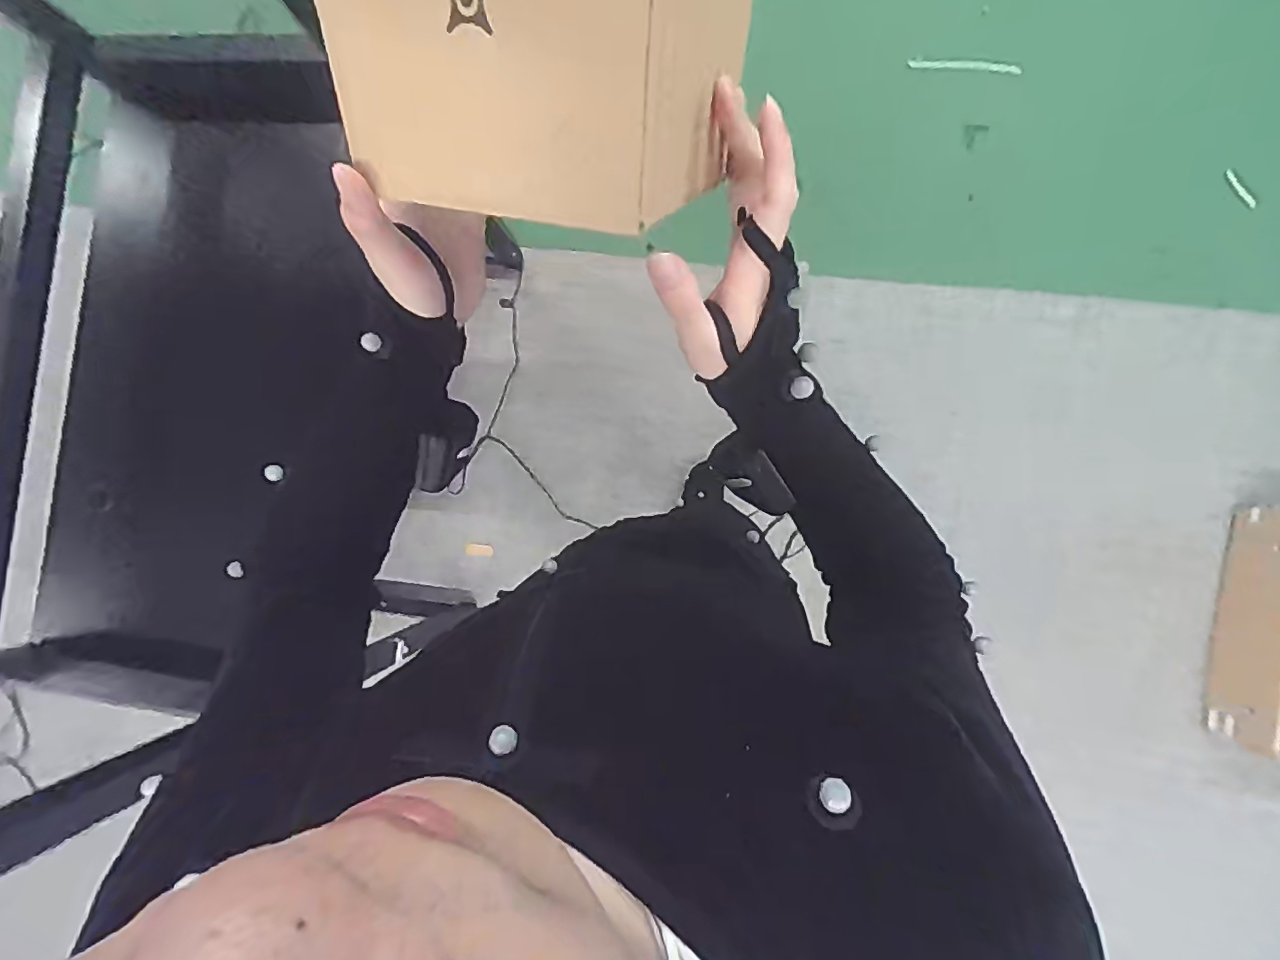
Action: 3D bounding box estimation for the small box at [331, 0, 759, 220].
[{"bbox_3d":[-0.035,-0.254,0.281,0.168,0.176,0.179,16,128,16],"label":"small box"}]
